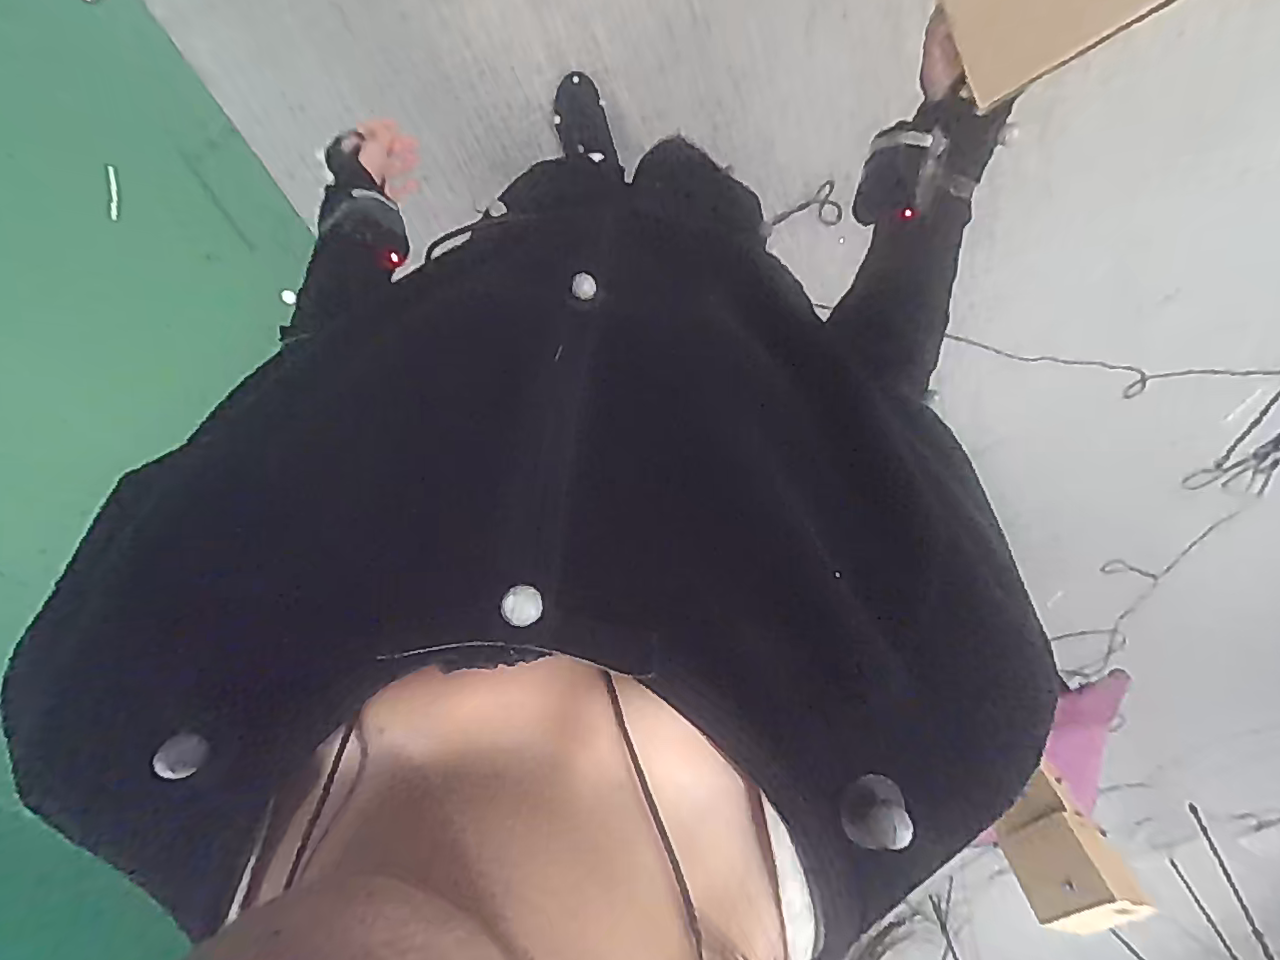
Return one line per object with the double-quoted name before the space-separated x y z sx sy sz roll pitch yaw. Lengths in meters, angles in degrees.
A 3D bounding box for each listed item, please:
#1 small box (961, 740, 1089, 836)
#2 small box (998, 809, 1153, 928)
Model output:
"small box" 0.954 0.781 1.352 0.168 0.176 0.179 36 116 -26
"small box" 0.959 0.866 1.209 0.168 0.176 0.179 25 122 -20
